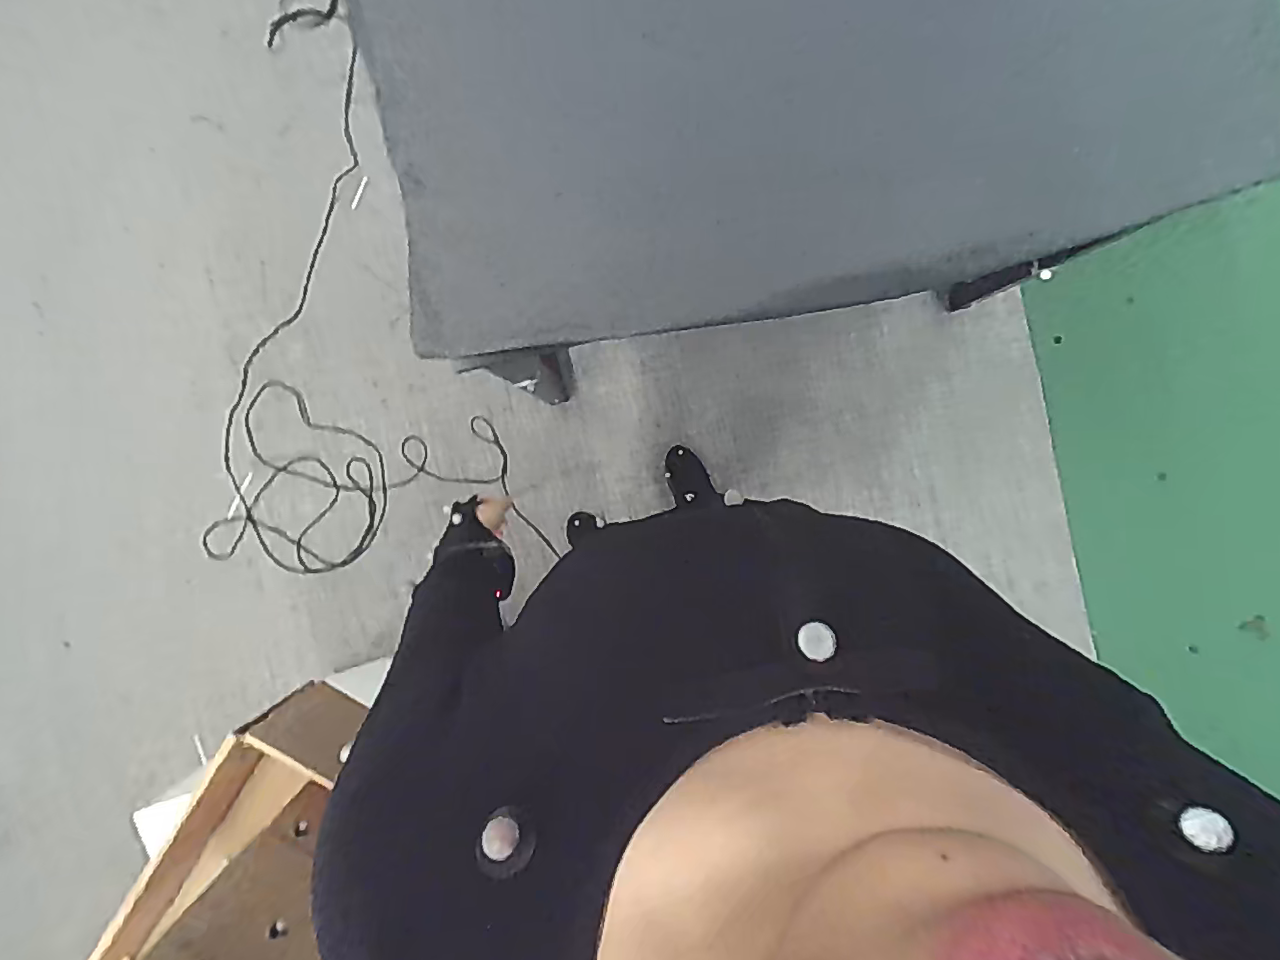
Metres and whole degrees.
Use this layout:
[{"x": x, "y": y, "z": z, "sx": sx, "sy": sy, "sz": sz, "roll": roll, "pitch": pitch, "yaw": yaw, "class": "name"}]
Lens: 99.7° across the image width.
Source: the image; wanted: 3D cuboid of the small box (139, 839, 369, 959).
[{"x": -0.463, "y": 0.568, "z": 0.629, "sx": 0.179, "sy": 0.176, "sz": 0.168, "roll": 34, "pitch": 94, "yaw": -4, "class": "small box"}]
